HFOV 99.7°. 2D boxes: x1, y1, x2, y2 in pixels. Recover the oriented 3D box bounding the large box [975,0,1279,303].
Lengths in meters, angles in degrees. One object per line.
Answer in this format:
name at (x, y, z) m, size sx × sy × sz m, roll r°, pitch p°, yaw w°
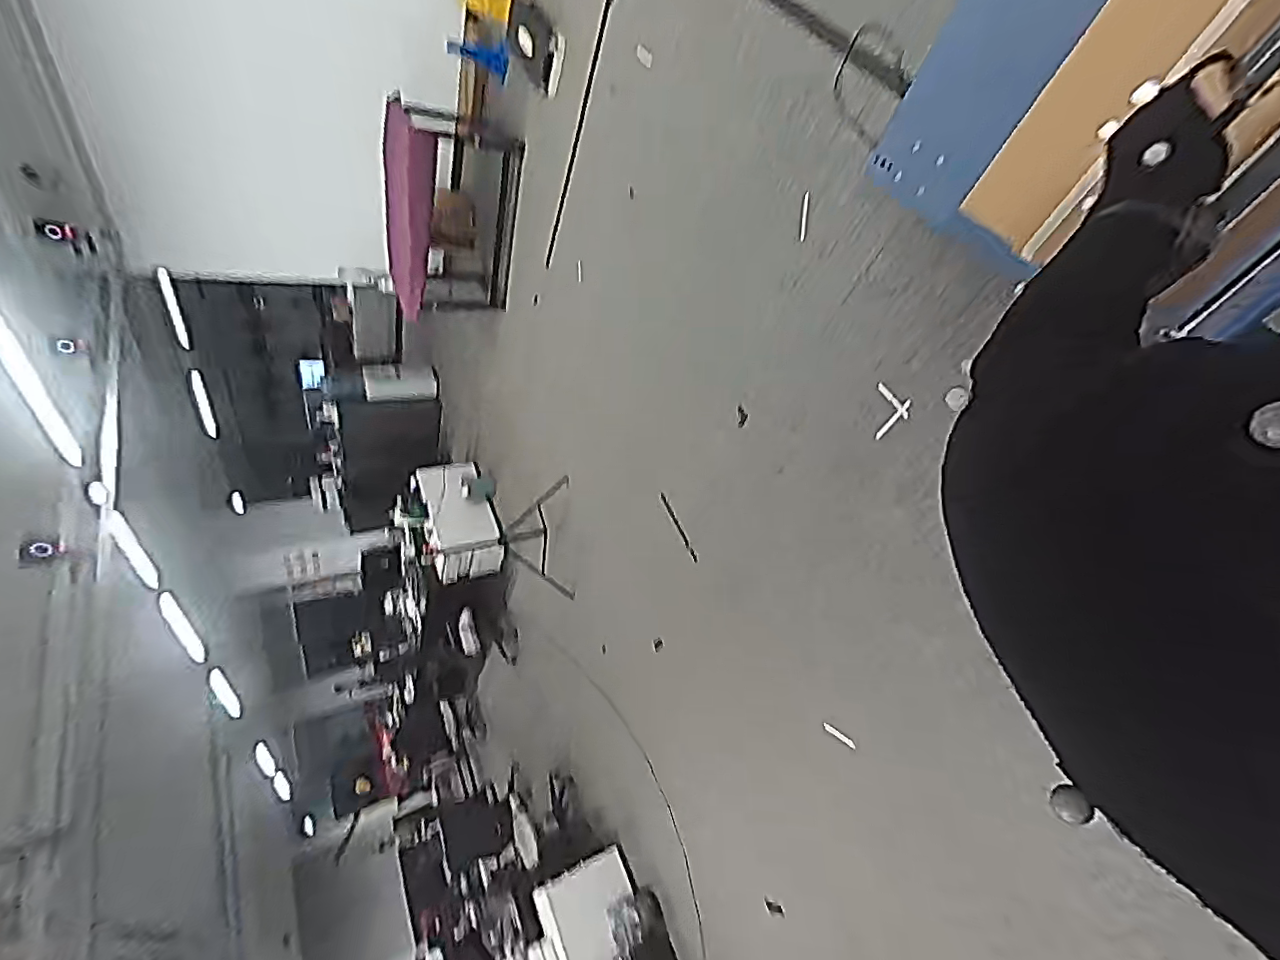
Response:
large box at (0.847, -0.537, 0.834) m, size 0.320 × 0.320 × 0.408 m, roll 59°, pitch 142°, yaw 30°
